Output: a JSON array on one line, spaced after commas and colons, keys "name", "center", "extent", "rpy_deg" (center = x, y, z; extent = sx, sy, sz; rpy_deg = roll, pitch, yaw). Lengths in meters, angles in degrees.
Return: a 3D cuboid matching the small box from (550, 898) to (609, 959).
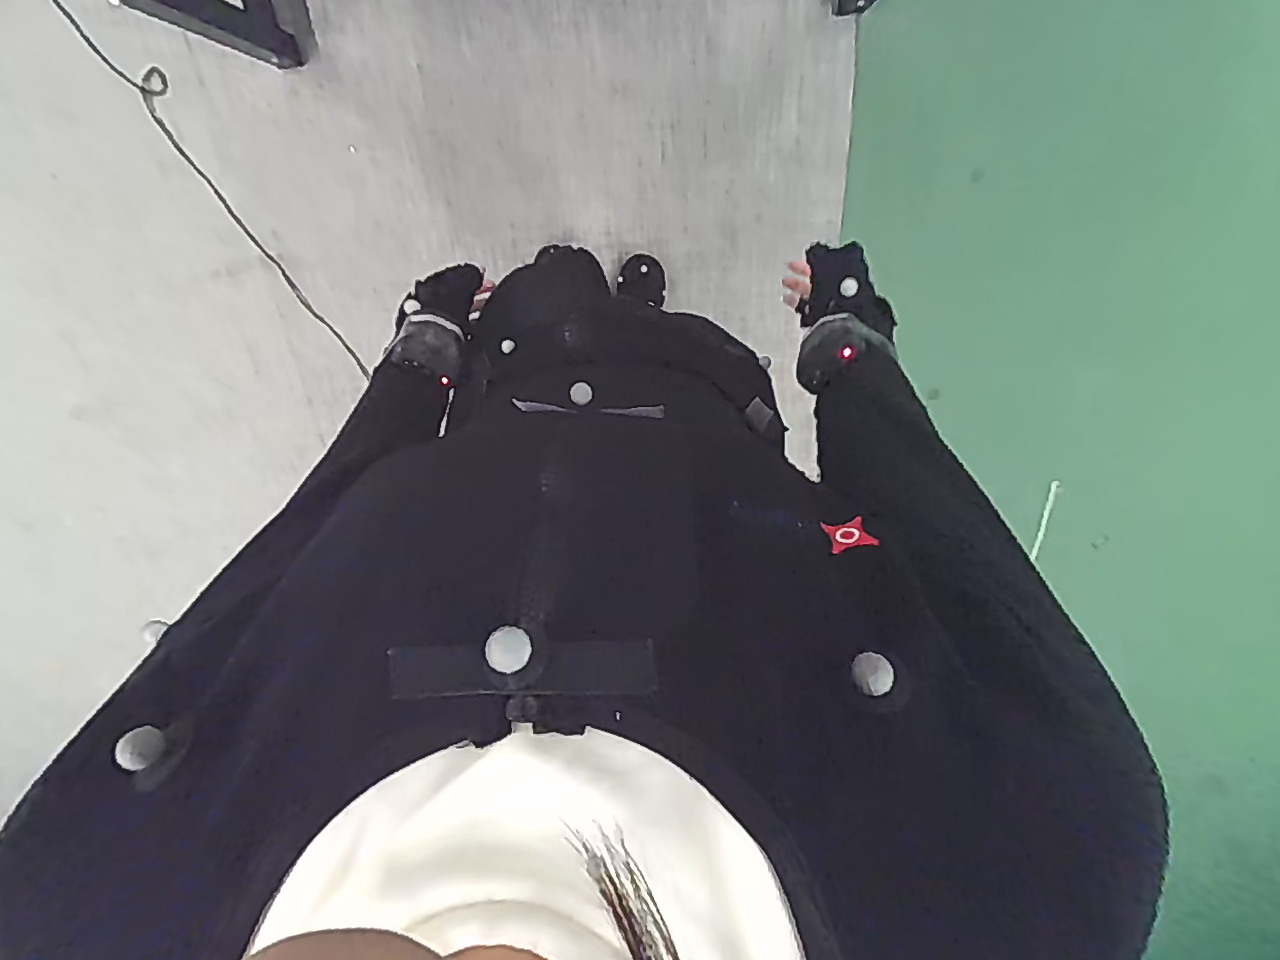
[{"name": "small box", "center": [-0.201, 1.546, 1.818], "extent": [0.179, 0.176, 0.168], "rpy_deg": [2, 112, -1]}]
